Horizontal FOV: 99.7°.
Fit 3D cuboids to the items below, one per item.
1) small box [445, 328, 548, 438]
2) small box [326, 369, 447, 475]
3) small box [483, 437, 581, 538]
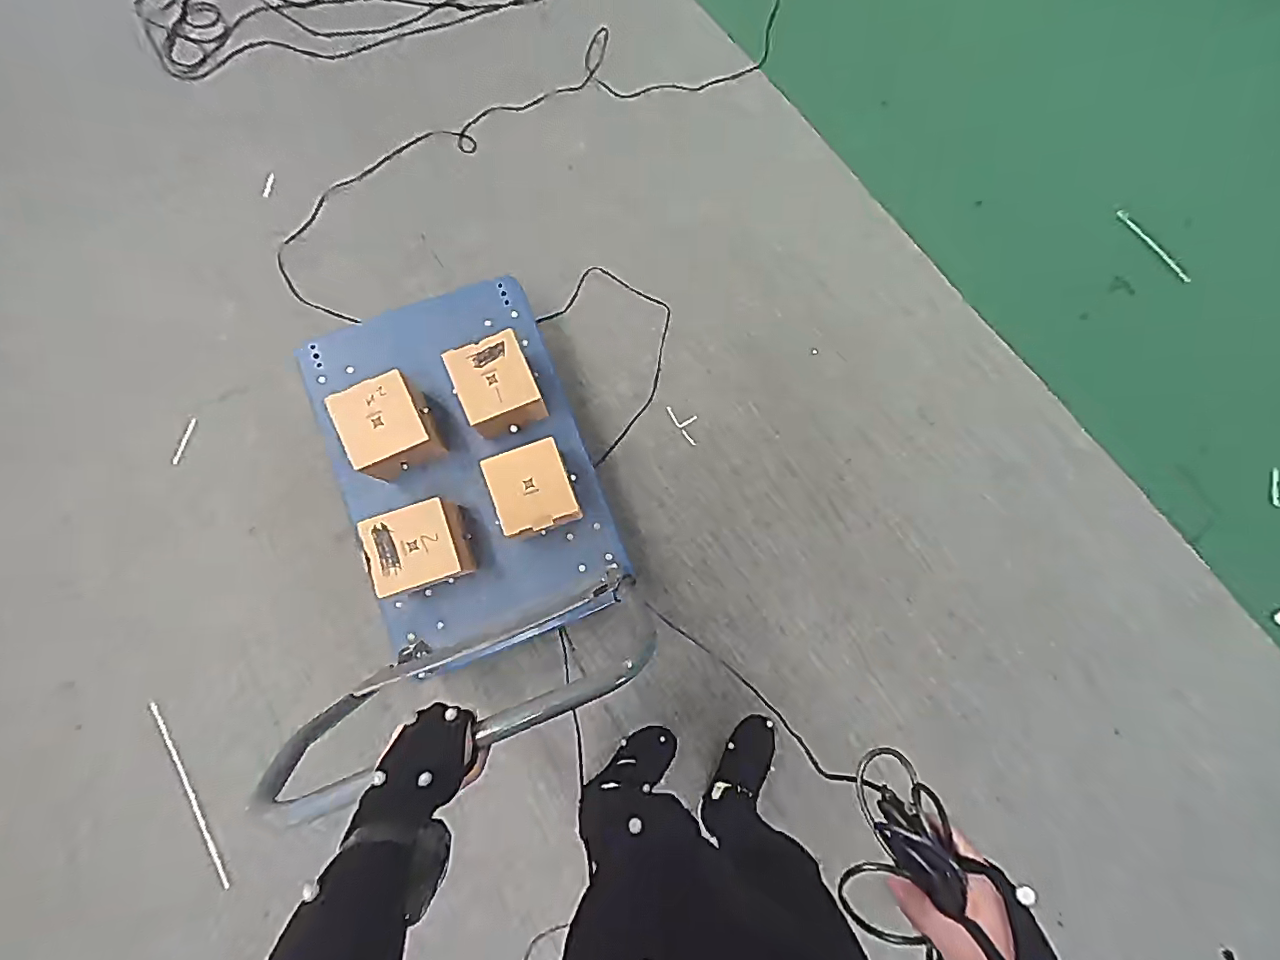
[{"bbox_3d":[-0.324,-0.216,1.249,0.168,0.176,0.179,-23,85,-6],"label":"small box"},{"bbox_3d":[-0.560,-0.120,1.218,0.168,0.176,0.179,-24,85,-8],"label":"small box"},{"bbox_3d":[-0.238,0.023,1.224,0.168,0.176,0.179,-20,85,-6],"label":"small box"}]
